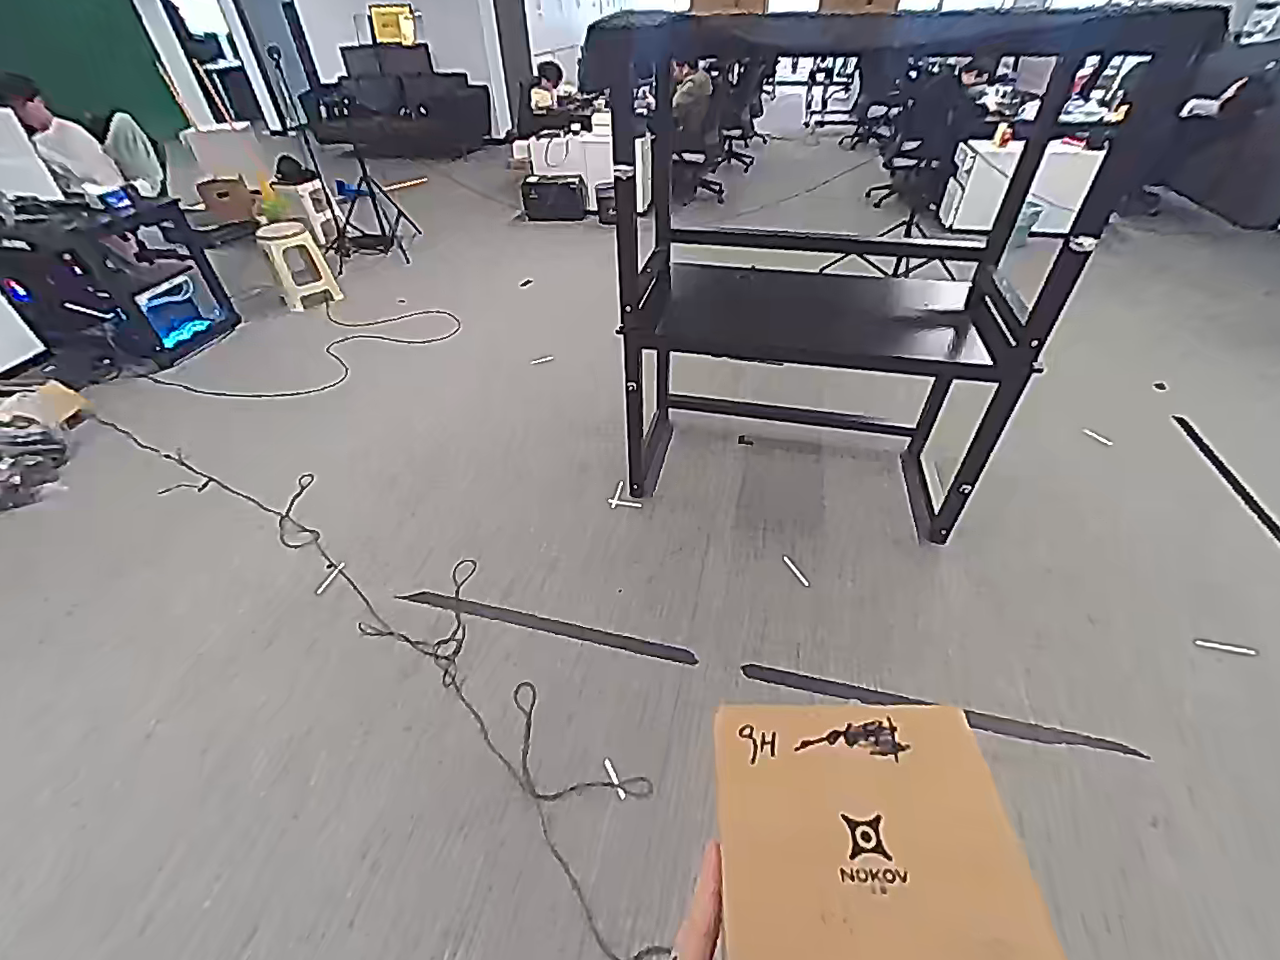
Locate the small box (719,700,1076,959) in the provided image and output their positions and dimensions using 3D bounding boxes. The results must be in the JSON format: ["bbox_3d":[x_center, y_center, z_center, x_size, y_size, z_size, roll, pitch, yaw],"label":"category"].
[{"bbox_3d":[0.139,0.266,0.351,0.168,0.176,0.179,-2,42,5],"label":"small box"}]

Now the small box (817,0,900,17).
[{"bbox_3d":[0.474,-1.093,1.142,0.168,0.176,0.179,8,41,11],"label":"small box"}]

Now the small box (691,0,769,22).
[{"bbox_3d":[0.209,-1.130,1.196,0.168,0.176,0.179,8,41,9],"label":"small box"}]
